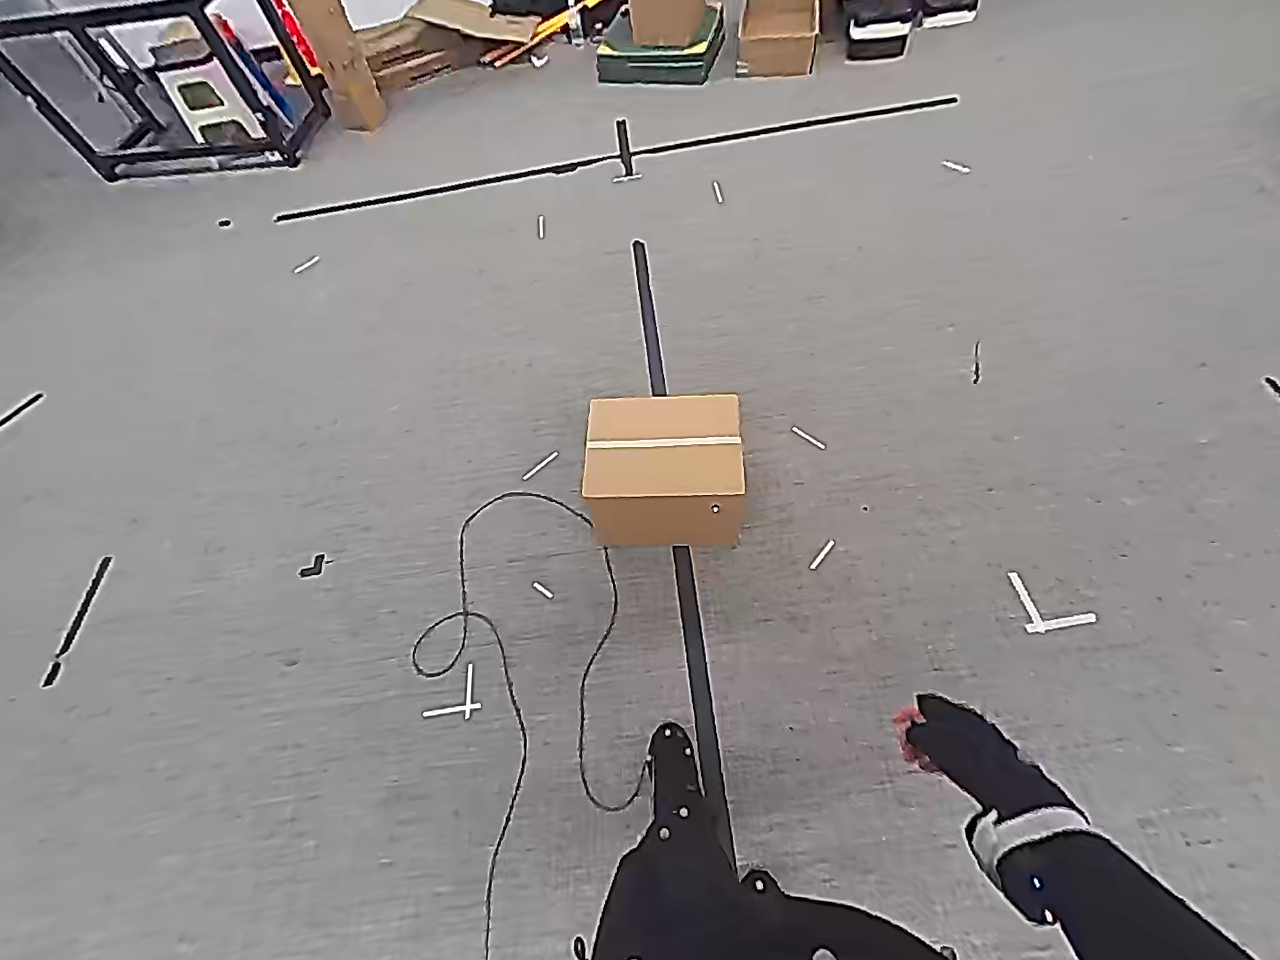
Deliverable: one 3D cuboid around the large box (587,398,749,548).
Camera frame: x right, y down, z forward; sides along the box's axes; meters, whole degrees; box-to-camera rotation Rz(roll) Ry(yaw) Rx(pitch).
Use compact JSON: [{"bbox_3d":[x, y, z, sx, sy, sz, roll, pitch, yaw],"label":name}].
[{"bbox_3d":[0.082,-0.008,1.523,0.408,0.320,0.320,-2,59,5],"label":"large box"}]
